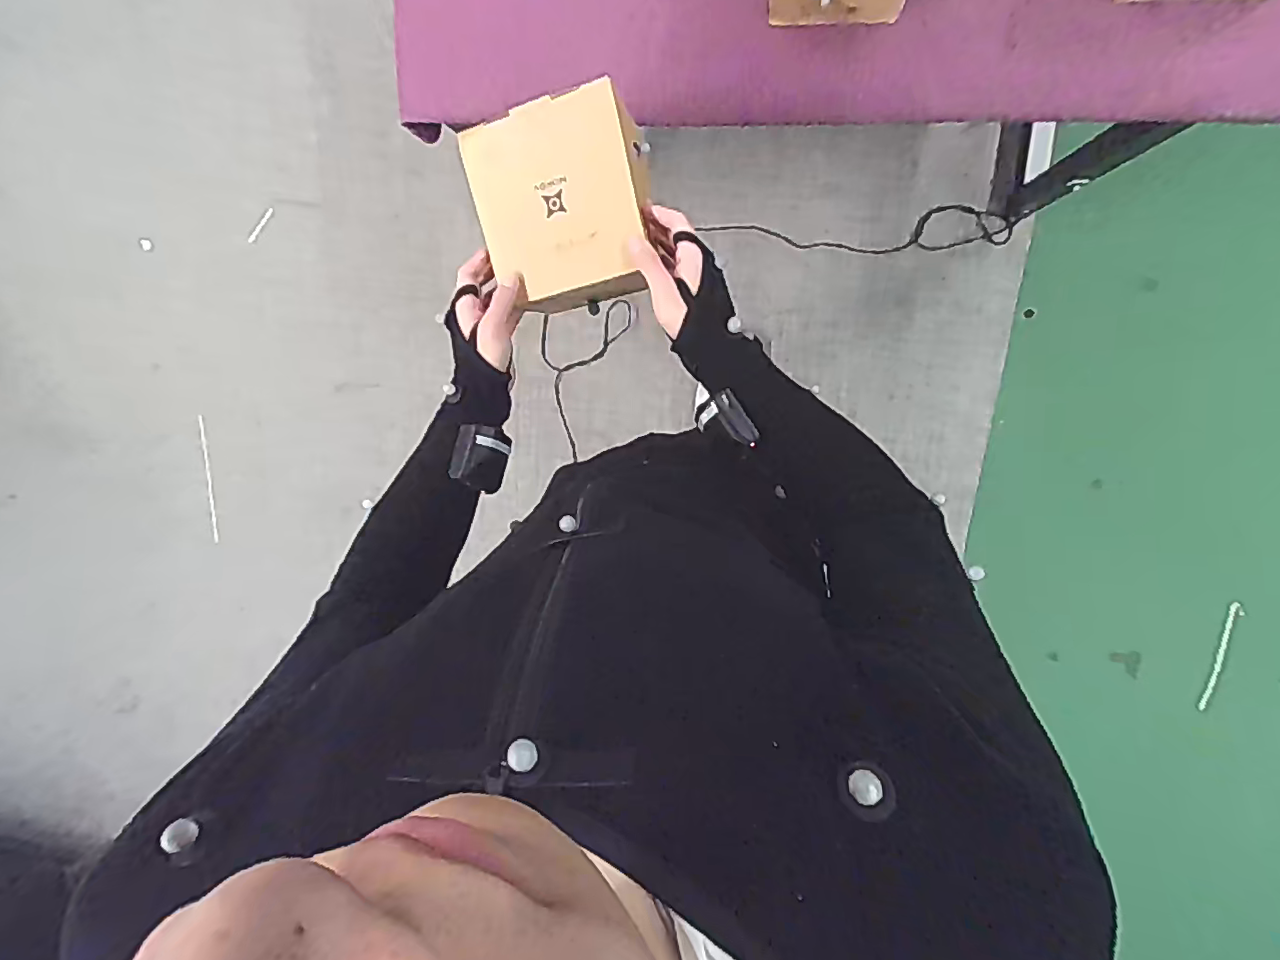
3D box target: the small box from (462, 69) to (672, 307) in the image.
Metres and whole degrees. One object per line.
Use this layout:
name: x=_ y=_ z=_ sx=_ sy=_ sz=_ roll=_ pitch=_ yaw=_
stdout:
small box: x=-0.067 y=-0.306 z=0.611 sx=0.168 sy=0.176 sz=0.179 roll=-10 pitch=103 yaw=14

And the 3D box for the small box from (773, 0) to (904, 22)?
small box: x=0.245 y=-0.670 z=0.610 sx=0.168 sy=0.176 sz=0.179 roll=7 pitch=102 yaw=9
